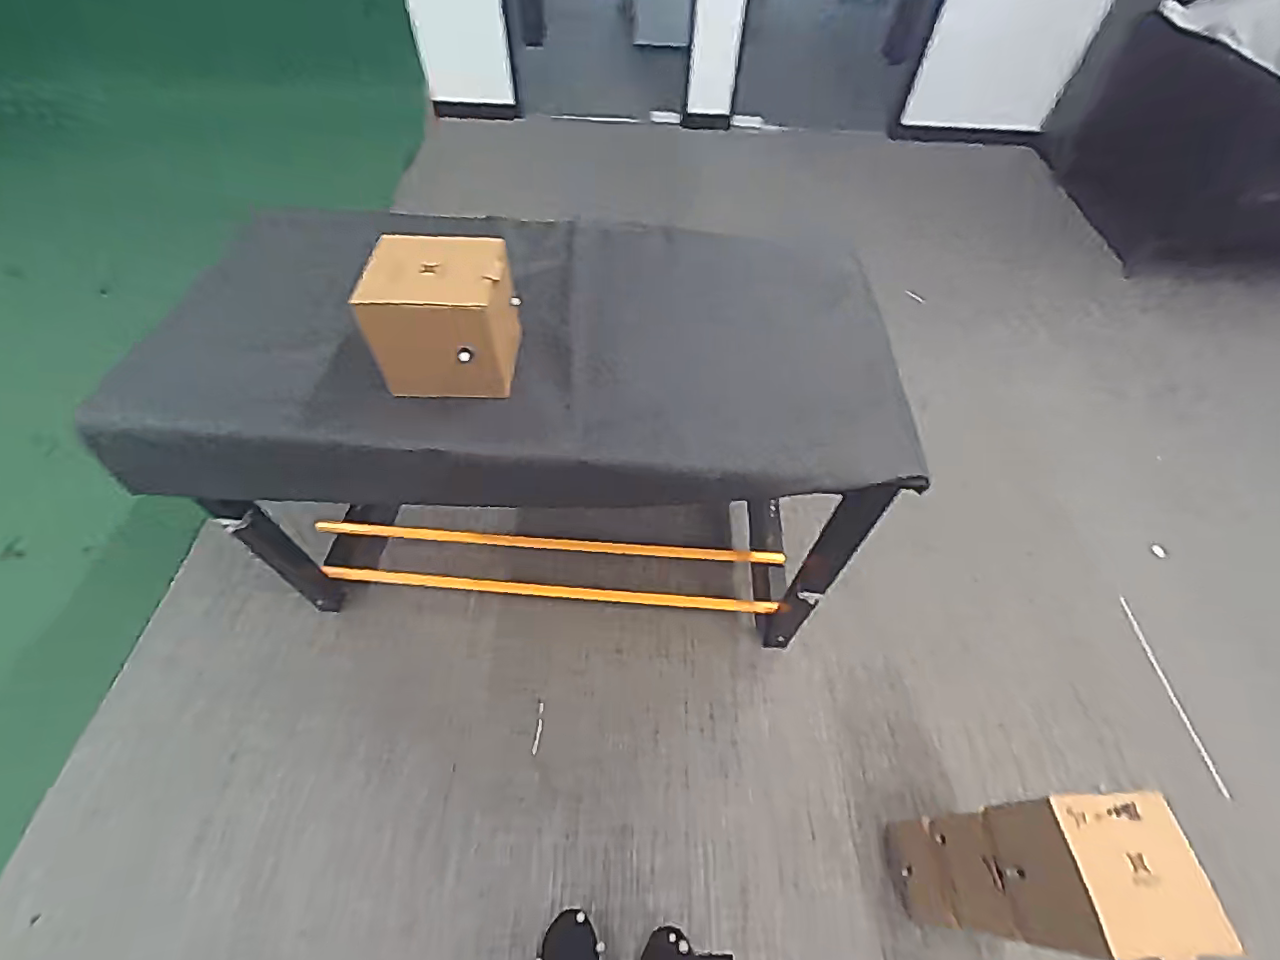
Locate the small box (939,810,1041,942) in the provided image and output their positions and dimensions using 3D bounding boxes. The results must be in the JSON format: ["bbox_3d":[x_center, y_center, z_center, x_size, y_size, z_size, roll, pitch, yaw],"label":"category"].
[{"bbox_3d":[0.626,0.646,0.890,0.179,0.176,0.168,0,55,-3],"label":"small box"}]

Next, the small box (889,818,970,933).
[{"bbox_3d":[0.608,0.741,1.023,0.179,0.176,0.168,-1,54,-2],"label":"small box"}]

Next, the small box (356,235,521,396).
[{"bbox_3d":[-0.280,-0.238,0.803,0.179,0.176,0.168,0,53,-1],"label":"small box"}]

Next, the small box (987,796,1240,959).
[{"bbox_3d":[0.635,0.549,0.757,0.168,0.176,0.179,0,55,-2],"label":"small box"}]
